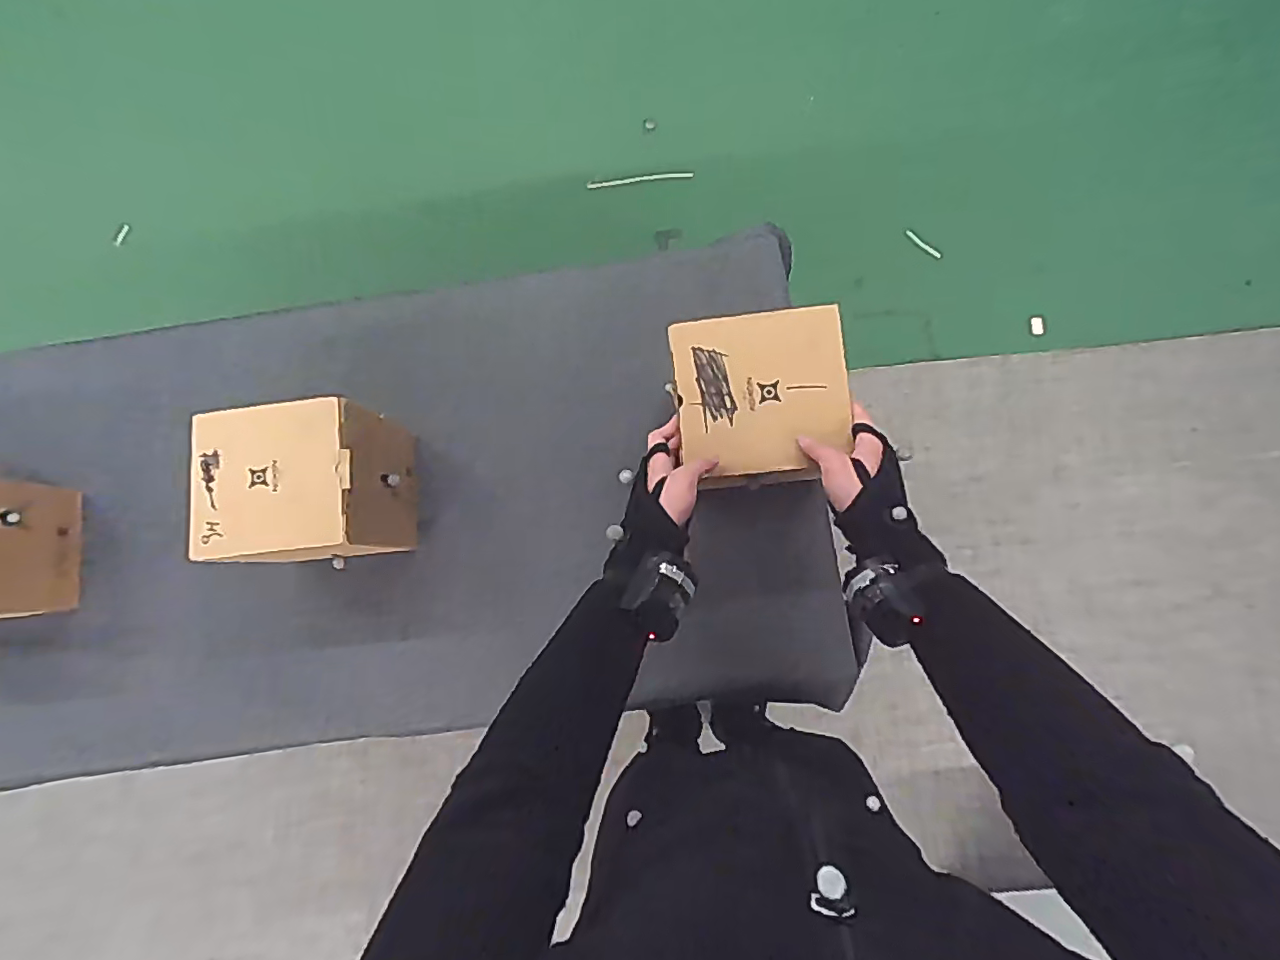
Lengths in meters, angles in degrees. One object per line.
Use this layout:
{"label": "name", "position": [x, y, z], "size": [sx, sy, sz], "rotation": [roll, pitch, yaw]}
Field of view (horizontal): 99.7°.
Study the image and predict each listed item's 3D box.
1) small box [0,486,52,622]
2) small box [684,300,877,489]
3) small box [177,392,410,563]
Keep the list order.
{"label": "small box", "position": [-0.860, 0.091, 0.632], "size": [0.179, 0.176, 0.168], "rotation": [-8, 78, 1]}
{"label": "small box", "position": [0.144, -0.084, 0.618], "size": [0.179, 0.176, 0.168], "rotation": [-5, 83, 2]}
{"label": "small box", "position": [-0.386, 0.007, 0.636], "size": [0.179, 0.176, 0.168], "rotation": [-6, 80, 0]}
